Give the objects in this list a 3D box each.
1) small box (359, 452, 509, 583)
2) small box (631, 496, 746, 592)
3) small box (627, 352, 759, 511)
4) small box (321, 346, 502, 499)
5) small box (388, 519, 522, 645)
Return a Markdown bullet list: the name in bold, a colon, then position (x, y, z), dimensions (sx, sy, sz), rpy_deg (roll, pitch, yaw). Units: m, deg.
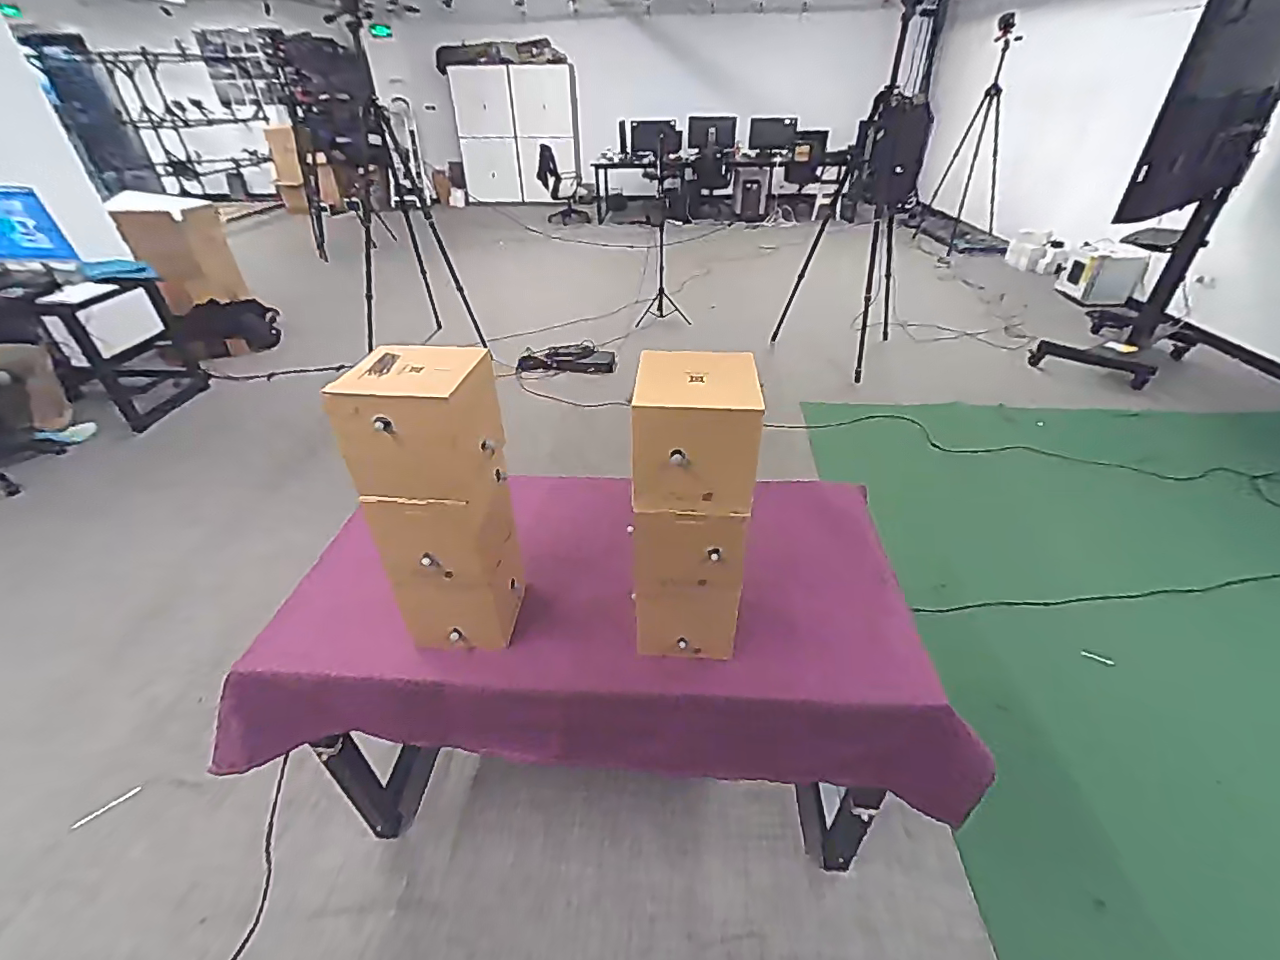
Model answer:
- **small box**: position (-0.324, 0.047, 0.897), dimensions (0.168, 0.176, 0.179), rpy_deg (1, 36, 4)
- **small box**: position (0.076, 0.061, 0.871), dimensions (0.168, 0.176, 0.179), rpy_deg (2, 36, 4)
- **small box**: position (0.074, -0.071, 0.777), dimensions (0.168, 0.176, 0.179), rpy_deg (2, 36, 3)
- **small box**: position (-0.321, -0.087, 0.801), dimensions (0.179, 0.176, 0.168), rpy_deg (3, 36, 4)
- **small box**: position (-0.323, 0.184, 0.989), dimensions (0.179, 0.176, 0.168), rpy_deg (1, 35, 2)
